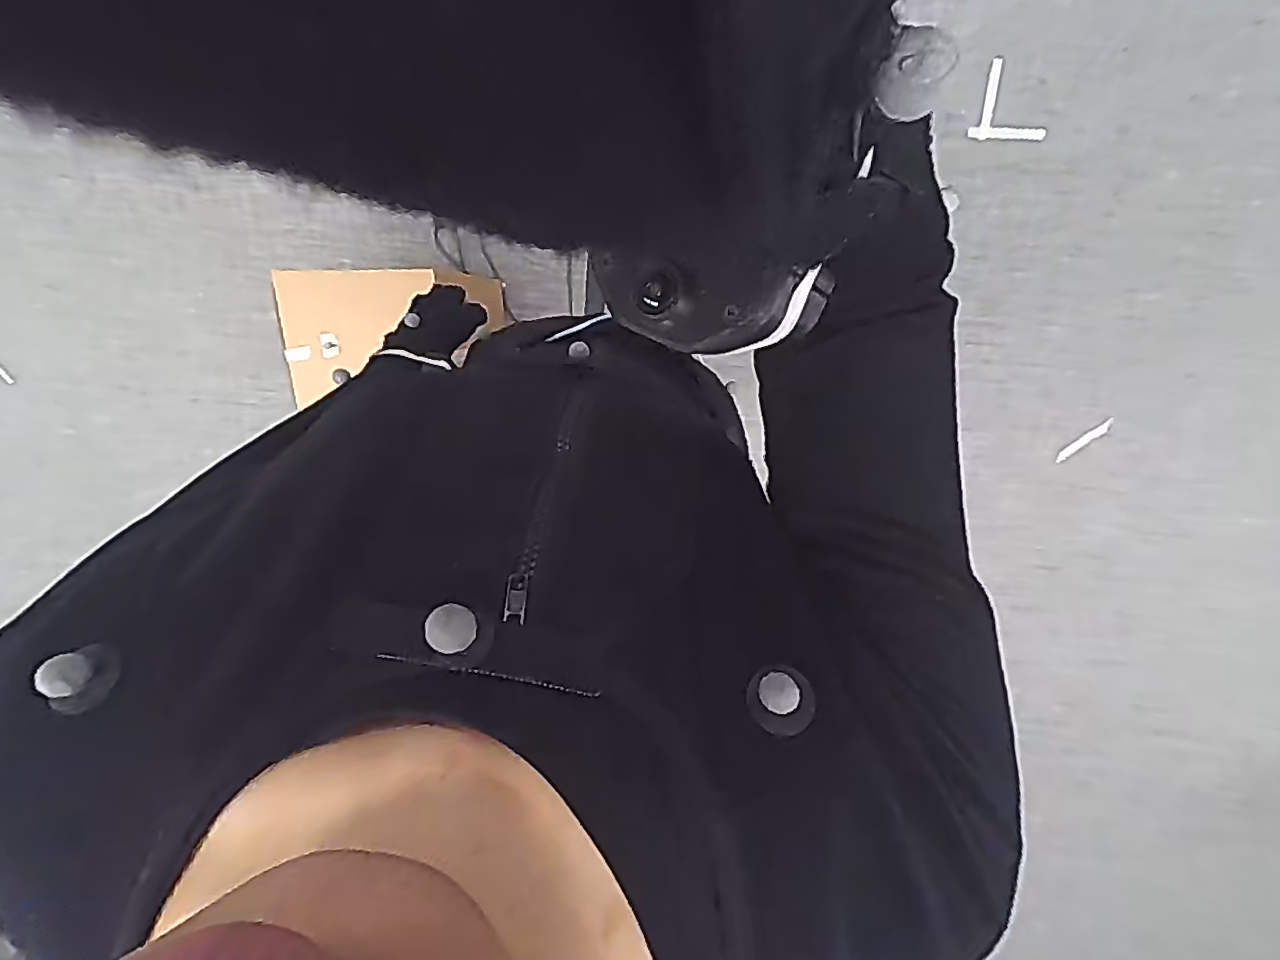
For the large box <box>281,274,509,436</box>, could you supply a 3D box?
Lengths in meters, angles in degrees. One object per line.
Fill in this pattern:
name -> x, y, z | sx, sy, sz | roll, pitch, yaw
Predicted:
large box -> -0.516, -0.295, 1.232 | 0.320, 0.408, 0.320 | 2, 108, 3
